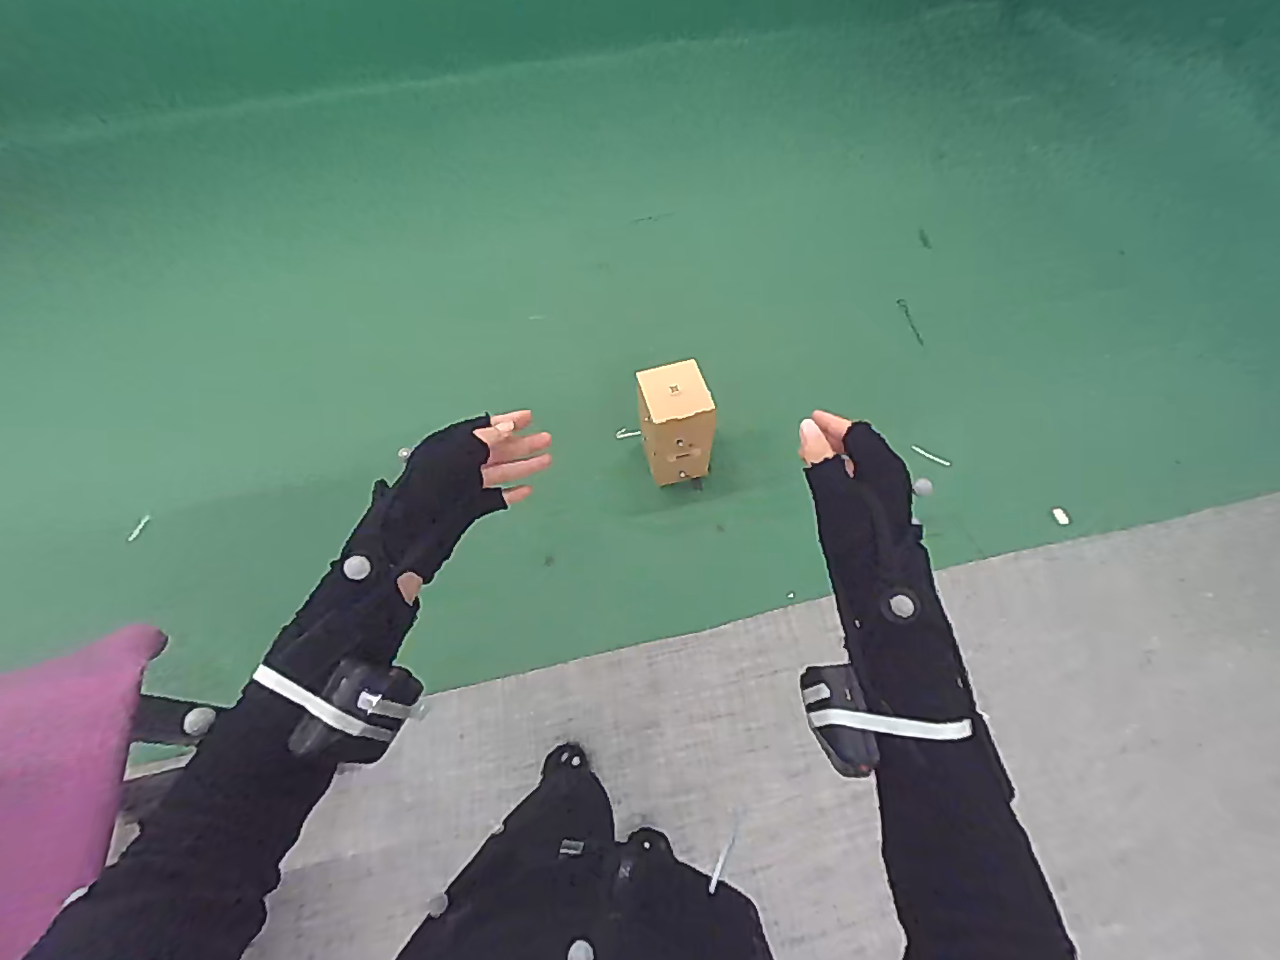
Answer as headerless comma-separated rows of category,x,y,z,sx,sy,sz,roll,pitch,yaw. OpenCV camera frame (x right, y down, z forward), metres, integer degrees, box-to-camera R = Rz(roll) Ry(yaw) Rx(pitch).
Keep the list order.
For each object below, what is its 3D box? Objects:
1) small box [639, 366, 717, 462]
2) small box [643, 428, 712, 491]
small box,0.096,-0.176,1.472,0.168,0.176,0.179,-15,61,-6
small box,0.105,-0.094,1.613,0.168,0.176,0.179,-14,60,-5
